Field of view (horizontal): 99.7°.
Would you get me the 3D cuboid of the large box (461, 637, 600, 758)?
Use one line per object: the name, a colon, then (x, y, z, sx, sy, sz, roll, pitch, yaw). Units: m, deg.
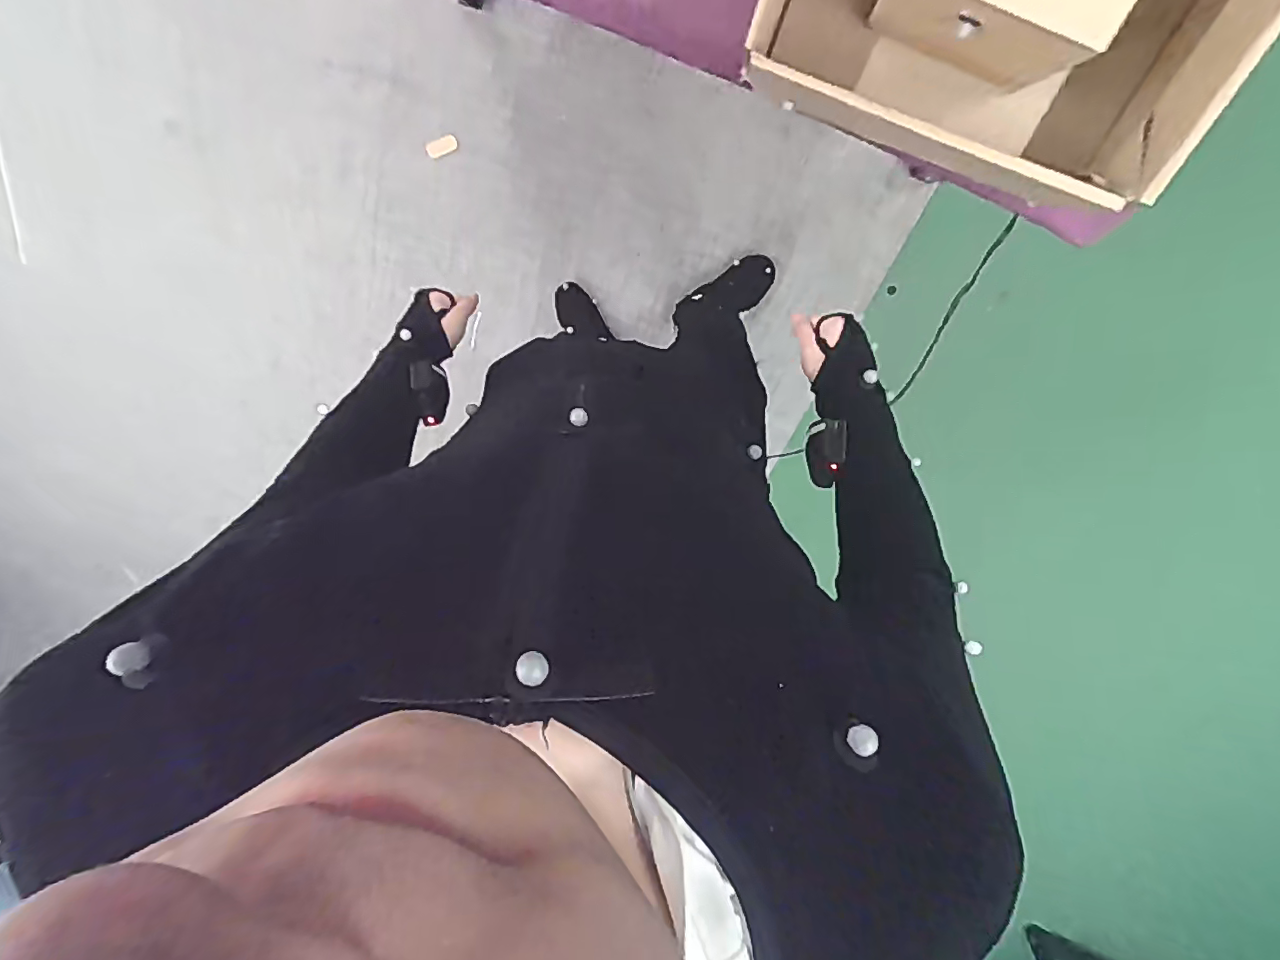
large box: (-0.404, 0.835, 2.087, 0.408, 0.320, 0.320, -6, 116, 12)
